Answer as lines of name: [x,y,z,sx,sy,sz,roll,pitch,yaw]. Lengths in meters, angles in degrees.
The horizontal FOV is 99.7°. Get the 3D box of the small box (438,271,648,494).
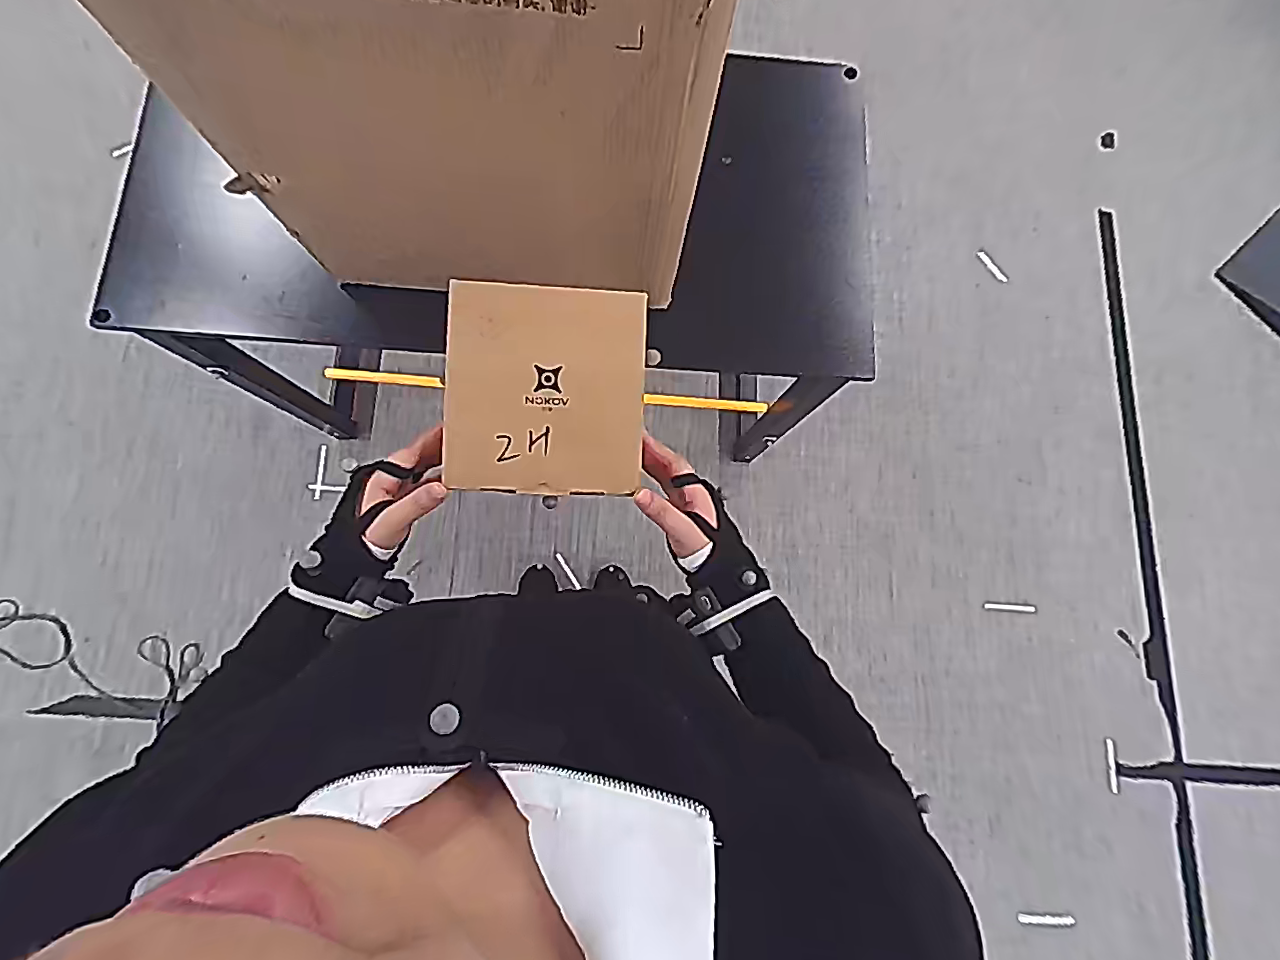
small box: [-0.087,-0.078,0.528,0.168,0.176,0.179,3,88,-5]
